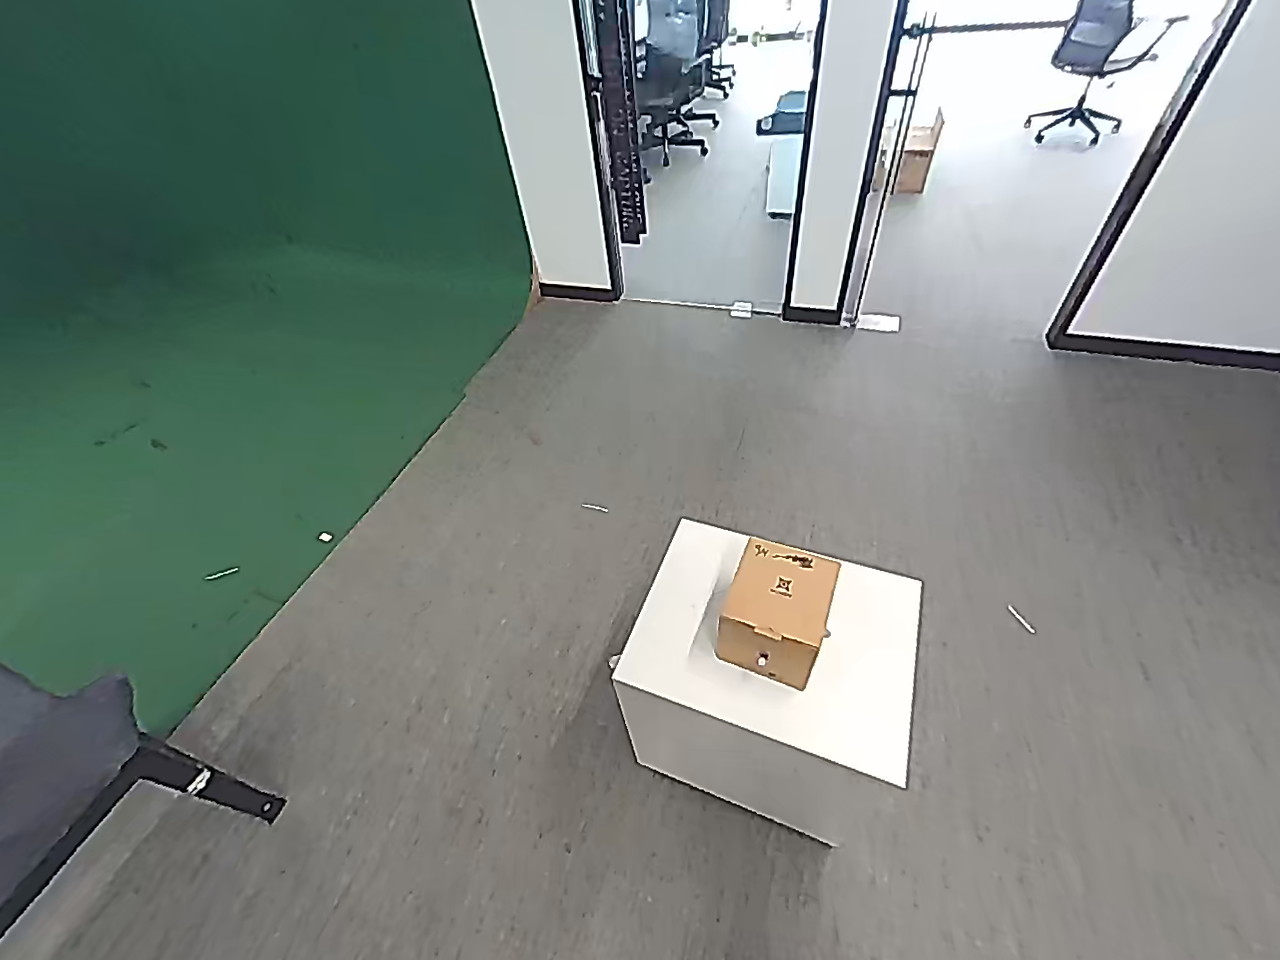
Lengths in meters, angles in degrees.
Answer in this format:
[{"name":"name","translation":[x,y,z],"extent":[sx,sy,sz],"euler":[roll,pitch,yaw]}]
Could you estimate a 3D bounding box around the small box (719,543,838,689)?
[{"name":"small box","translation":[0.246,0.248,0.975],"extent":[0.168,0.176,0.179],"euler":[14,50,18]}]
